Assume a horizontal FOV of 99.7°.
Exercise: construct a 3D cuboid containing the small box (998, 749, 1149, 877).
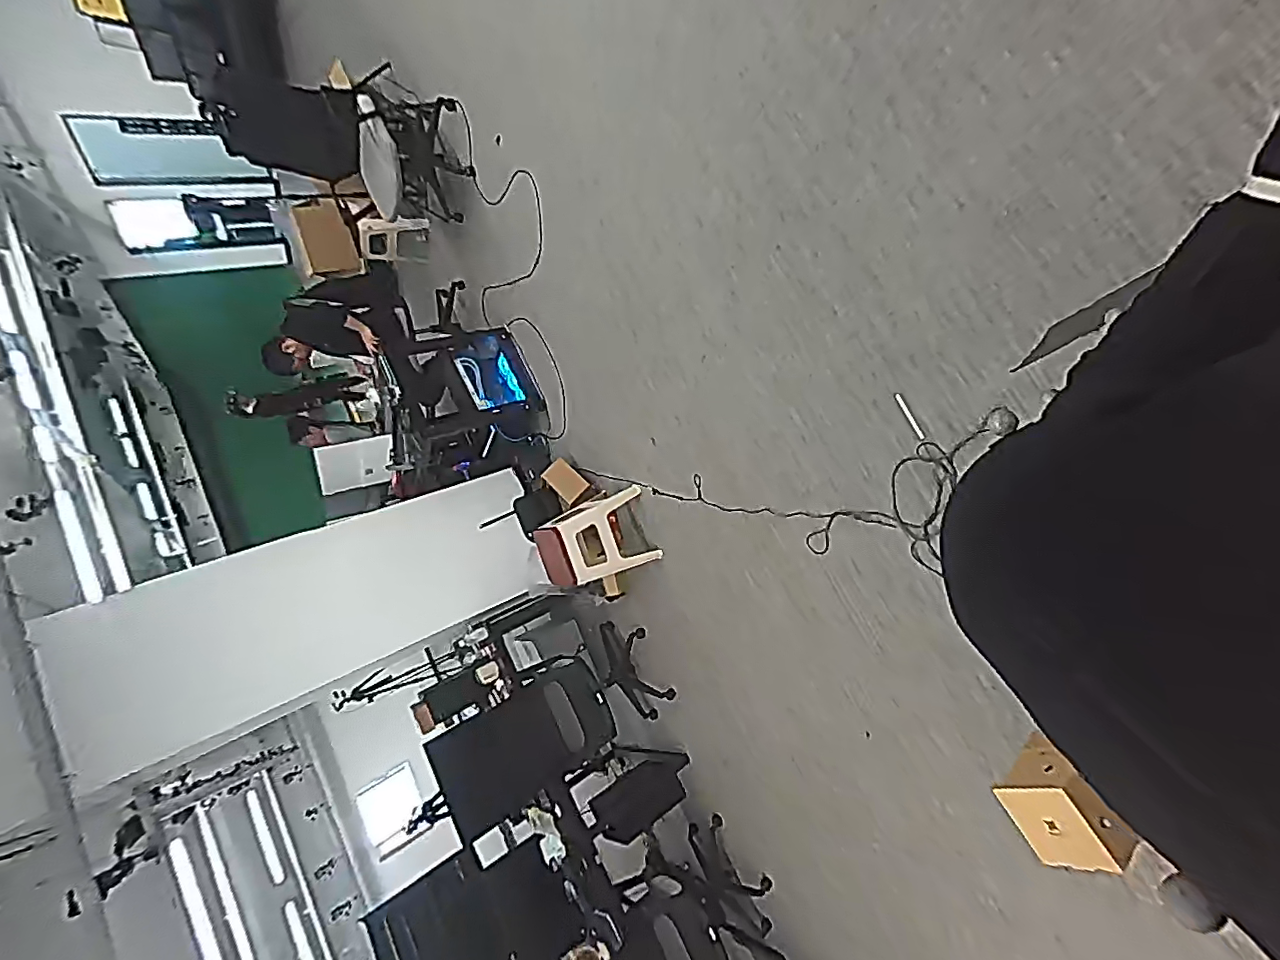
[{"bbox_3d":[0.936,0.707,1.171,0.179,0.176,0.168,58,147,15],"label":"small box"}]
